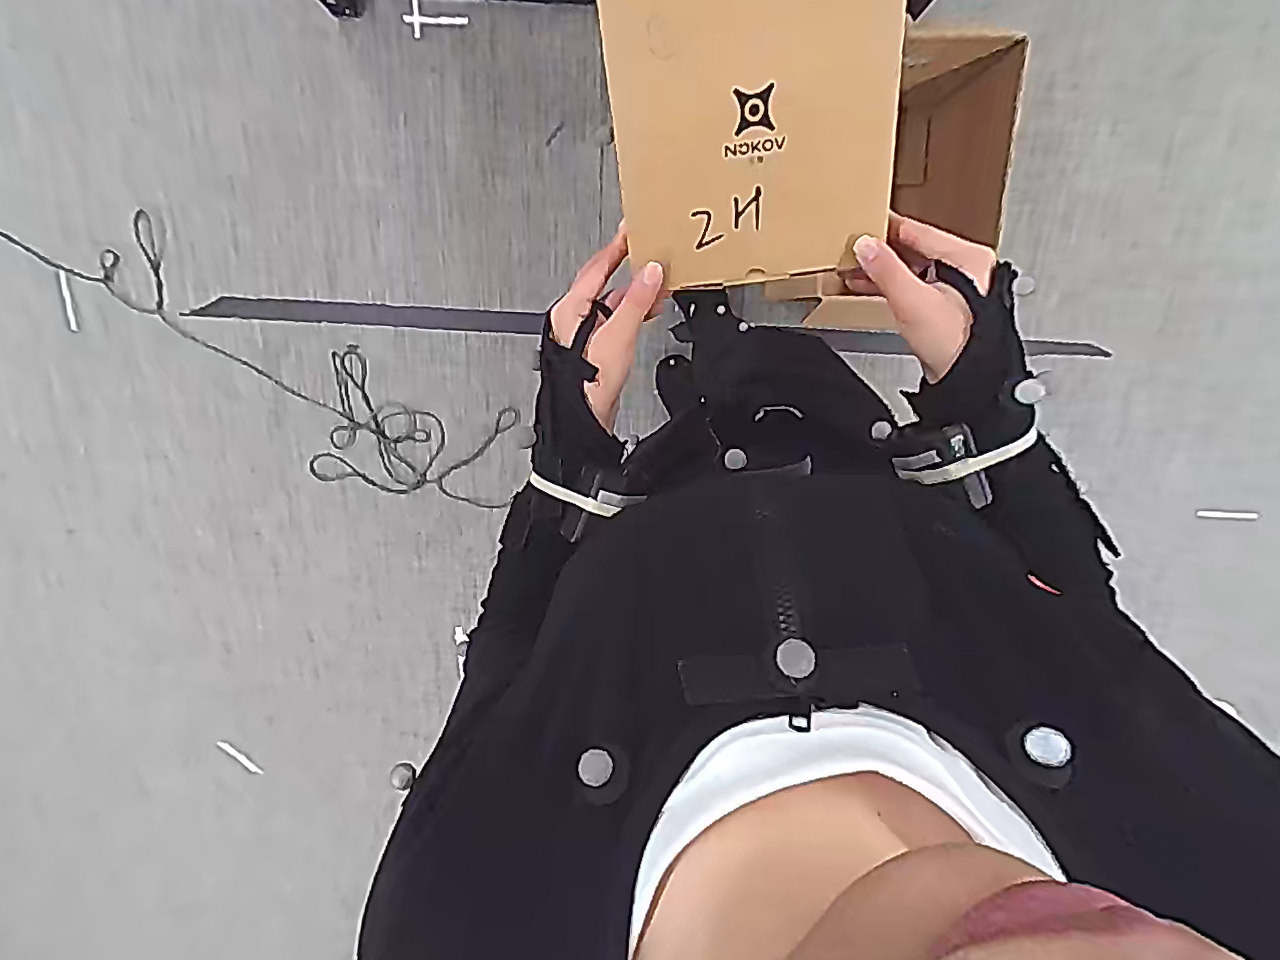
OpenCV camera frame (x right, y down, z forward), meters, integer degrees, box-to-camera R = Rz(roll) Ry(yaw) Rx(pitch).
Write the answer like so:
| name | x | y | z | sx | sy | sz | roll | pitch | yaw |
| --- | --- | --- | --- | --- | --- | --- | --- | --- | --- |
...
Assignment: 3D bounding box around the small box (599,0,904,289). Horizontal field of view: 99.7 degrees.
| name | x | y | z | sx | sy | sz | roll | pitch | yaw |
| --- | --- | --- | --- | --- | --- | --- | --- | --- | --- |
| small box | 0.069 | -0.248 | 0.388 | 0.168 | 0.176 | 0.179 | -4 | 119 | 7 |
